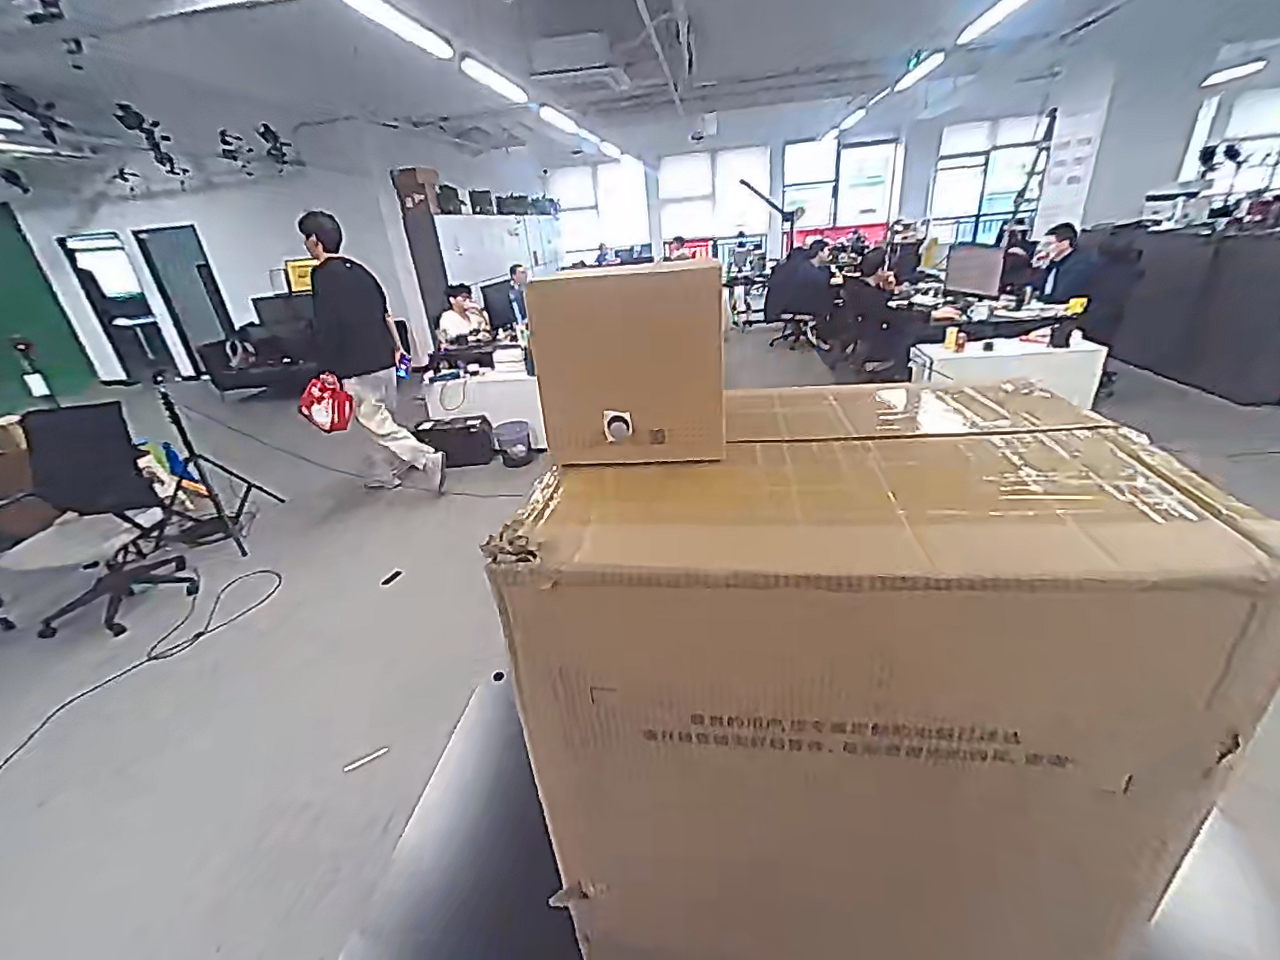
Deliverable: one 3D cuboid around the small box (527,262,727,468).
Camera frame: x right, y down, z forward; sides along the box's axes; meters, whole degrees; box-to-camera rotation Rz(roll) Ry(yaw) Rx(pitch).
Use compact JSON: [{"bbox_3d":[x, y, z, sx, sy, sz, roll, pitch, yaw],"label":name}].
[{"bbox_3d":[-0.001,-0.121,0.546,0.168,0.176,0.179,-3,25,6],"label":"small box"}]
